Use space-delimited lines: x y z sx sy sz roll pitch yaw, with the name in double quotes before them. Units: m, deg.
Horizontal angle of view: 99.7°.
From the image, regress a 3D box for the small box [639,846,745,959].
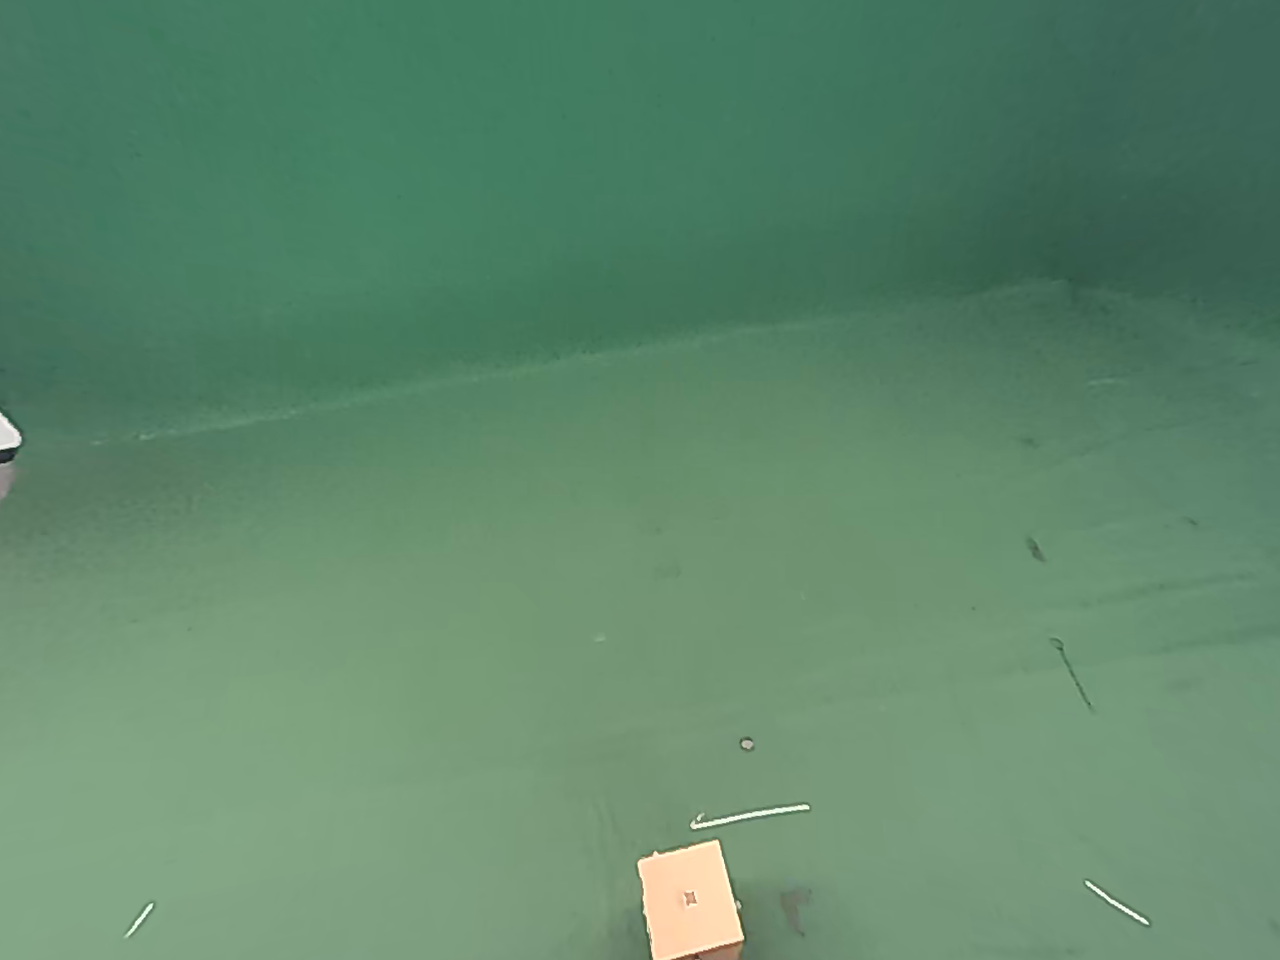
"small box" 0.105 0.879 1.103 0.179 0.176 0.168 -13 43 -3
